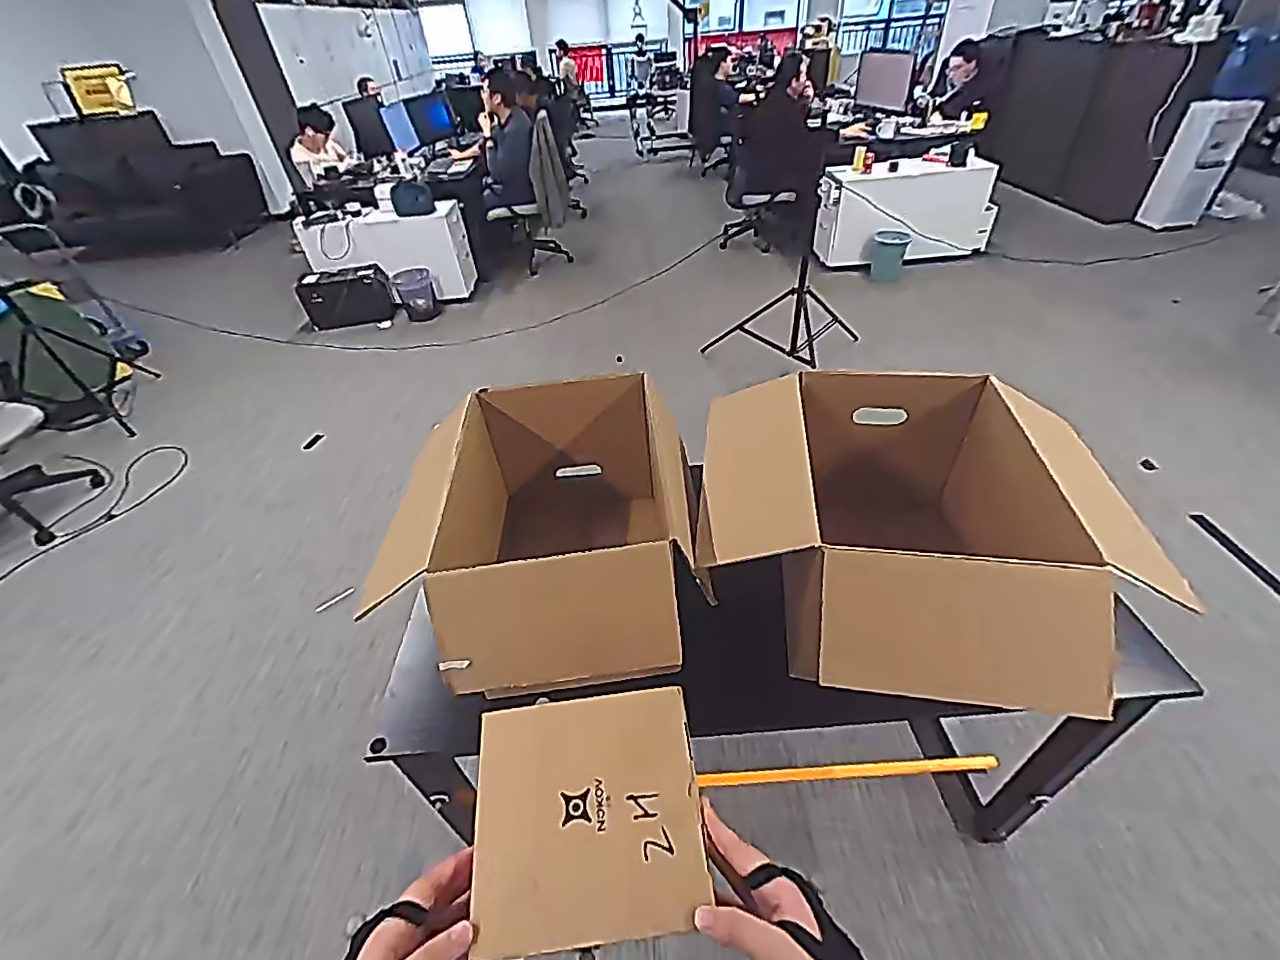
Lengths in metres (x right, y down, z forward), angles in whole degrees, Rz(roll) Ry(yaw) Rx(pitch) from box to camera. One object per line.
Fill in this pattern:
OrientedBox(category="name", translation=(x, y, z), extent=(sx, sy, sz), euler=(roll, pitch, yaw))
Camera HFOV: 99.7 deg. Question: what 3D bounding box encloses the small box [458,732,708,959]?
OrientedBox(category="small box", translation=(-0.040, 0.335, 0.468), extent=(0.179, 0.176, 0.168), euler=(-7, 52, -1))
